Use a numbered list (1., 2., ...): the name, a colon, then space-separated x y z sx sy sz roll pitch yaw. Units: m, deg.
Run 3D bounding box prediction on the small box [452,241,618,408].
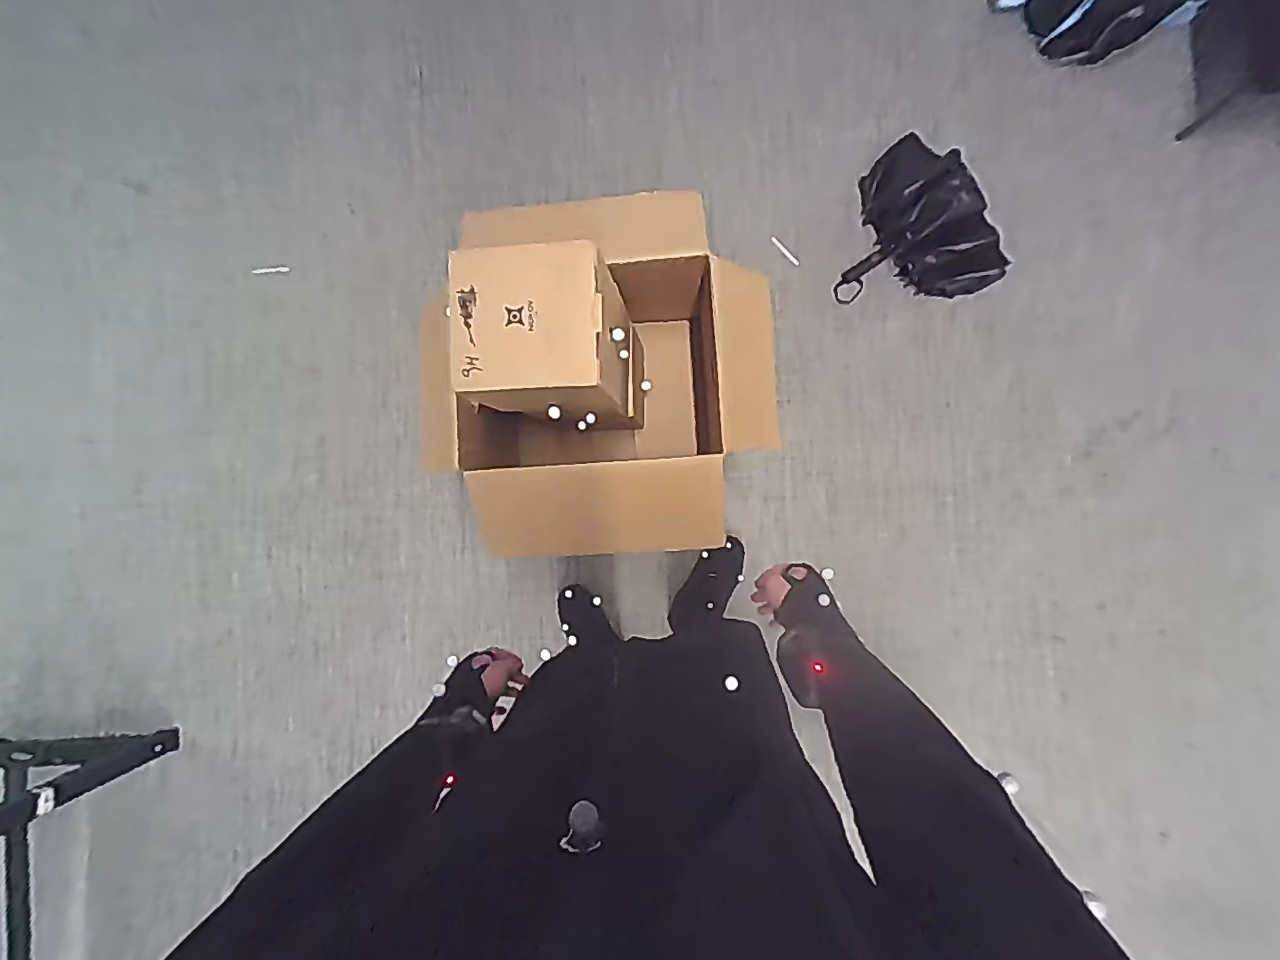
1. small box: -0.121 -0.186 0.690 0.179 0.176 0.168 -1 89 6
